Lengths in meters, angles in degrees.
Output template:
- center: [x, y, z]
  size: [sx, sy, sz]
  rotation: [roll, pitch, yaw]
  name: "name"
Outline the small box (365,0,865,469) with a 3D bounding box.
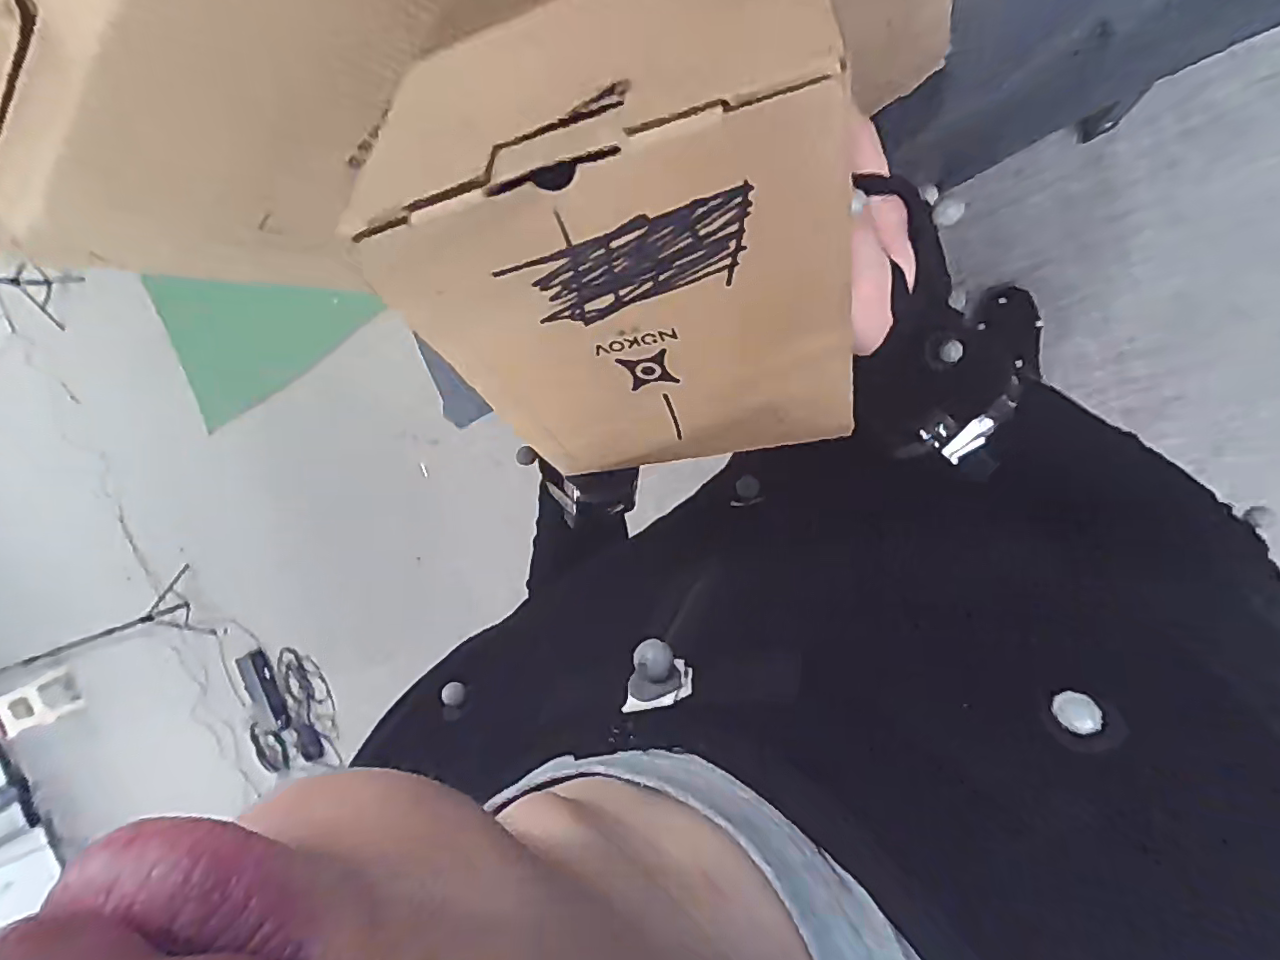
- center: [0.009, -0.128, 0.270]
  size: [0.168, 0.179, 0.176]
  rotation: [-7, 60, 17]
  name: "small box"
